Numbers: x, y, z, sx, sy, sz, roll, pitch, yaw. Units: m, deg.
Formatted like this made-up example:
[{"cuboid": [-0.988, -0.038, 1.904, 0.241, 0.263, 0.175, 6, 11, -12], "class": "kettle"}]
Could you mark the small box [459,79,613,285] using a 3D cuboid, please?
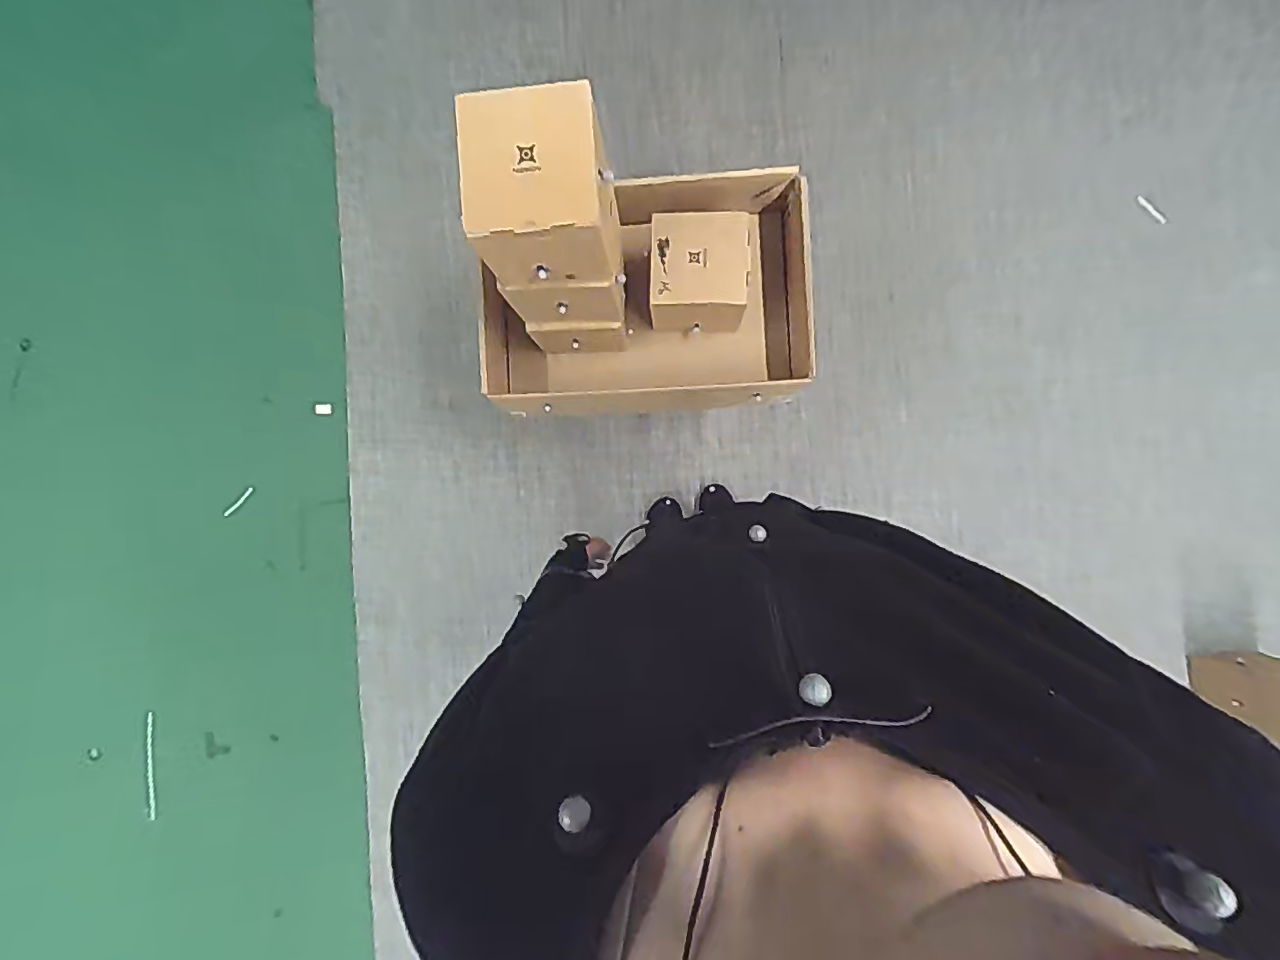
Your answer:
[{"cuboid": [-0.128, -0.382, 0.721, 0.168, 0.176, 0.179, -4, 88, 3], "class": "small box"}]

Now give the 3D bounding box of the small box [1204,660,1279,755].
[{"cuboid": [1.546, 0.548, 1.323, 0.168, 0.176, 0.179, -5, 88, 4], "class": "small box"}]
